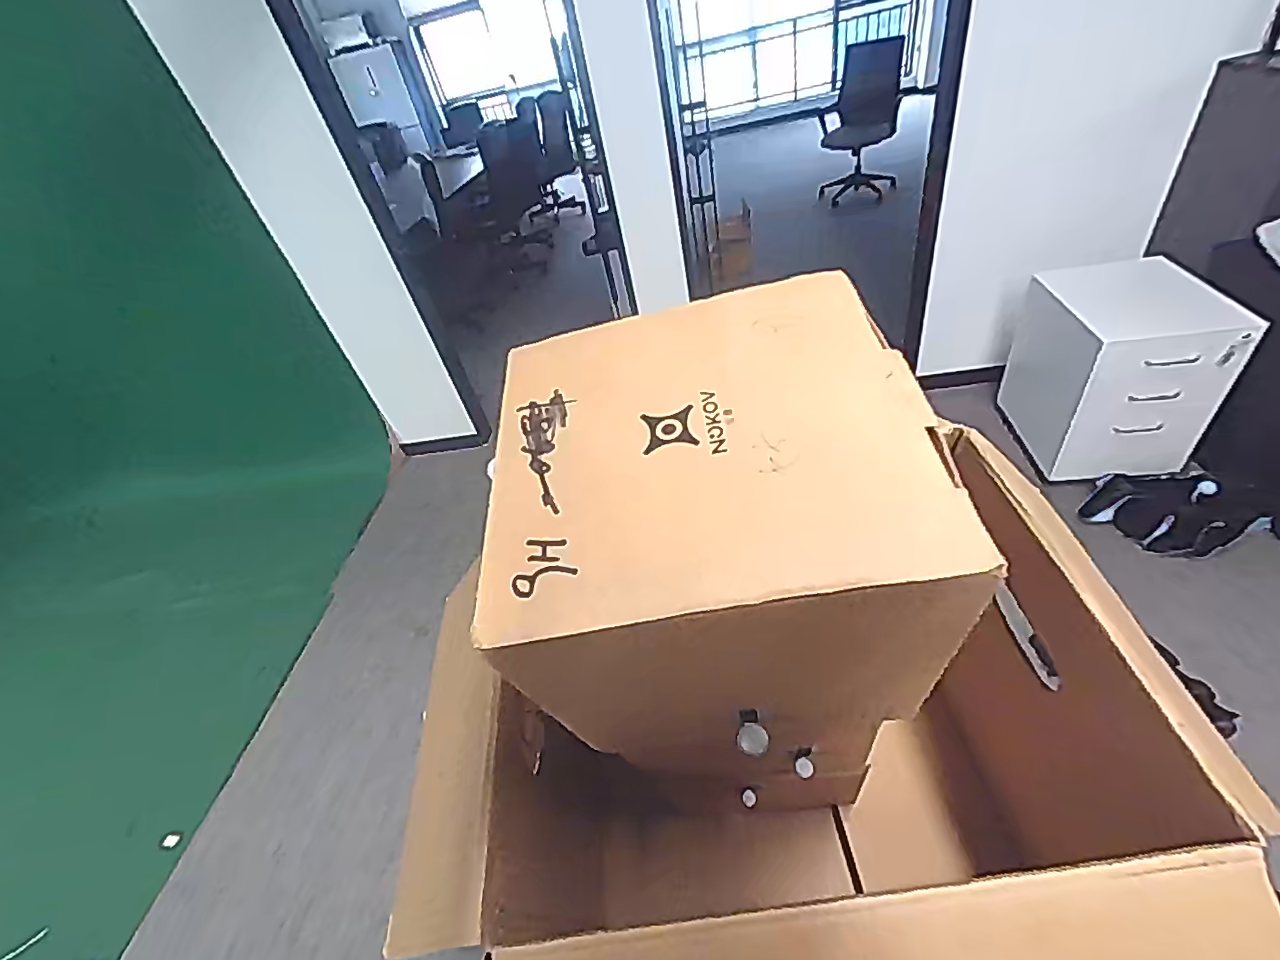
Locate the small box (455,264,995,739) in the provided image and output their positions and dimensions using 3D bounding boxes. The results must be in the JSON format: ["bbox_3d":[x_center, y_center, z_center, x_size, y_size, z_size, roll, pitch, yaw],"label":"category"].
[{"bbox_3d":[0.034,0.022,0.281,0.179,0.176,0.168,-10,51,7],"label":"small box"}]
